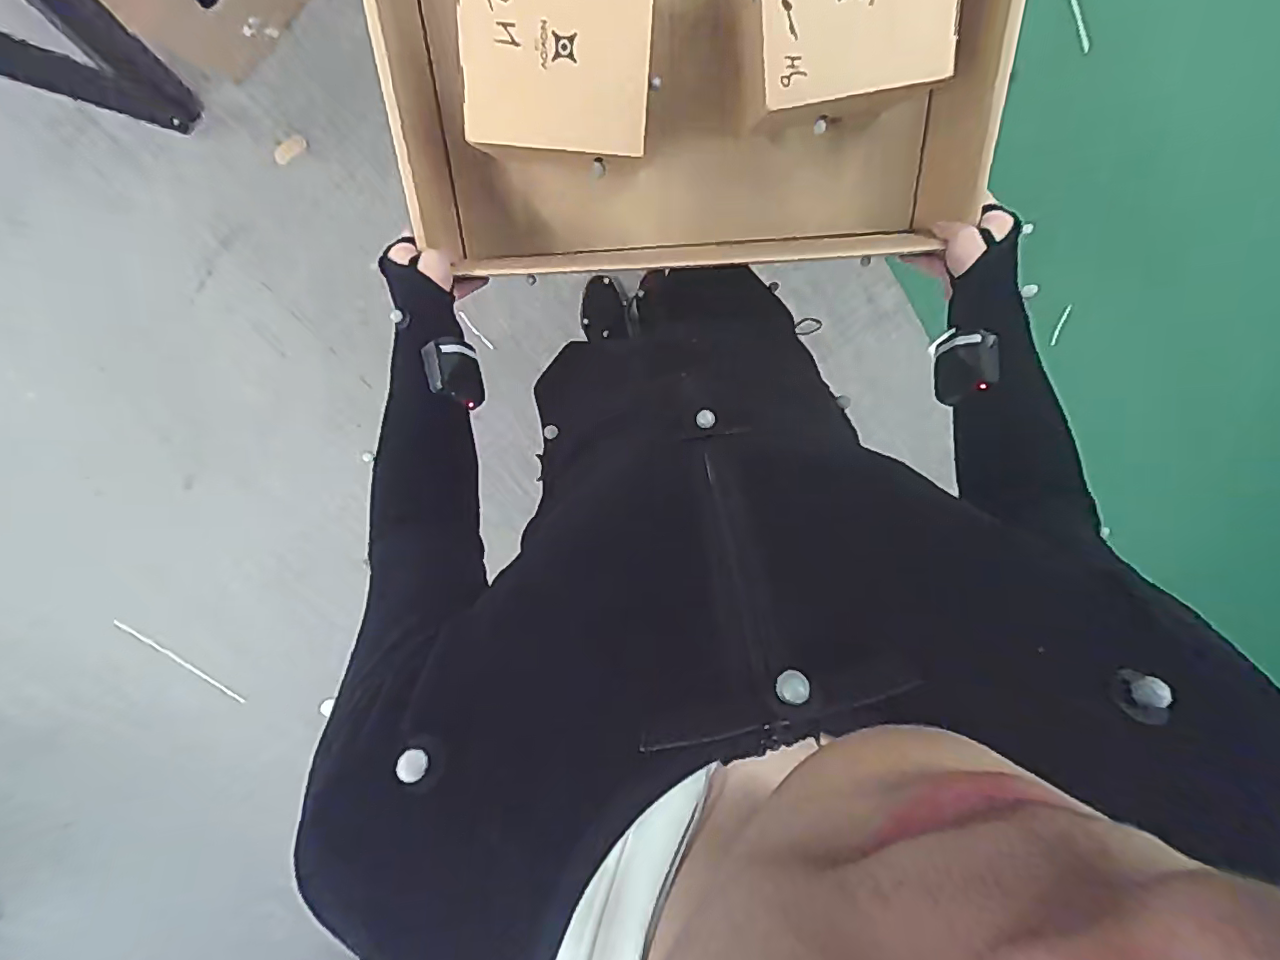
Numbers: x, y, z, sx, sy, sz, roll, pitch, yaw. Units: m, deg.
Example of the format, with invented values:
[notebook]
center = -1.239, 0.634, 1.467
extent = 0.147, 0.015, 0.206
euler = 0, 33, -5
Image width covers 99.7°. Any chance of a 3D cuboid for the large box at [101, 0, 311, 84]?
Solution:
[large box]
center = -0.917, -1.077, 1.012
extent = 0.320, 0.320, 0.408
euler = -39, 109, 10
